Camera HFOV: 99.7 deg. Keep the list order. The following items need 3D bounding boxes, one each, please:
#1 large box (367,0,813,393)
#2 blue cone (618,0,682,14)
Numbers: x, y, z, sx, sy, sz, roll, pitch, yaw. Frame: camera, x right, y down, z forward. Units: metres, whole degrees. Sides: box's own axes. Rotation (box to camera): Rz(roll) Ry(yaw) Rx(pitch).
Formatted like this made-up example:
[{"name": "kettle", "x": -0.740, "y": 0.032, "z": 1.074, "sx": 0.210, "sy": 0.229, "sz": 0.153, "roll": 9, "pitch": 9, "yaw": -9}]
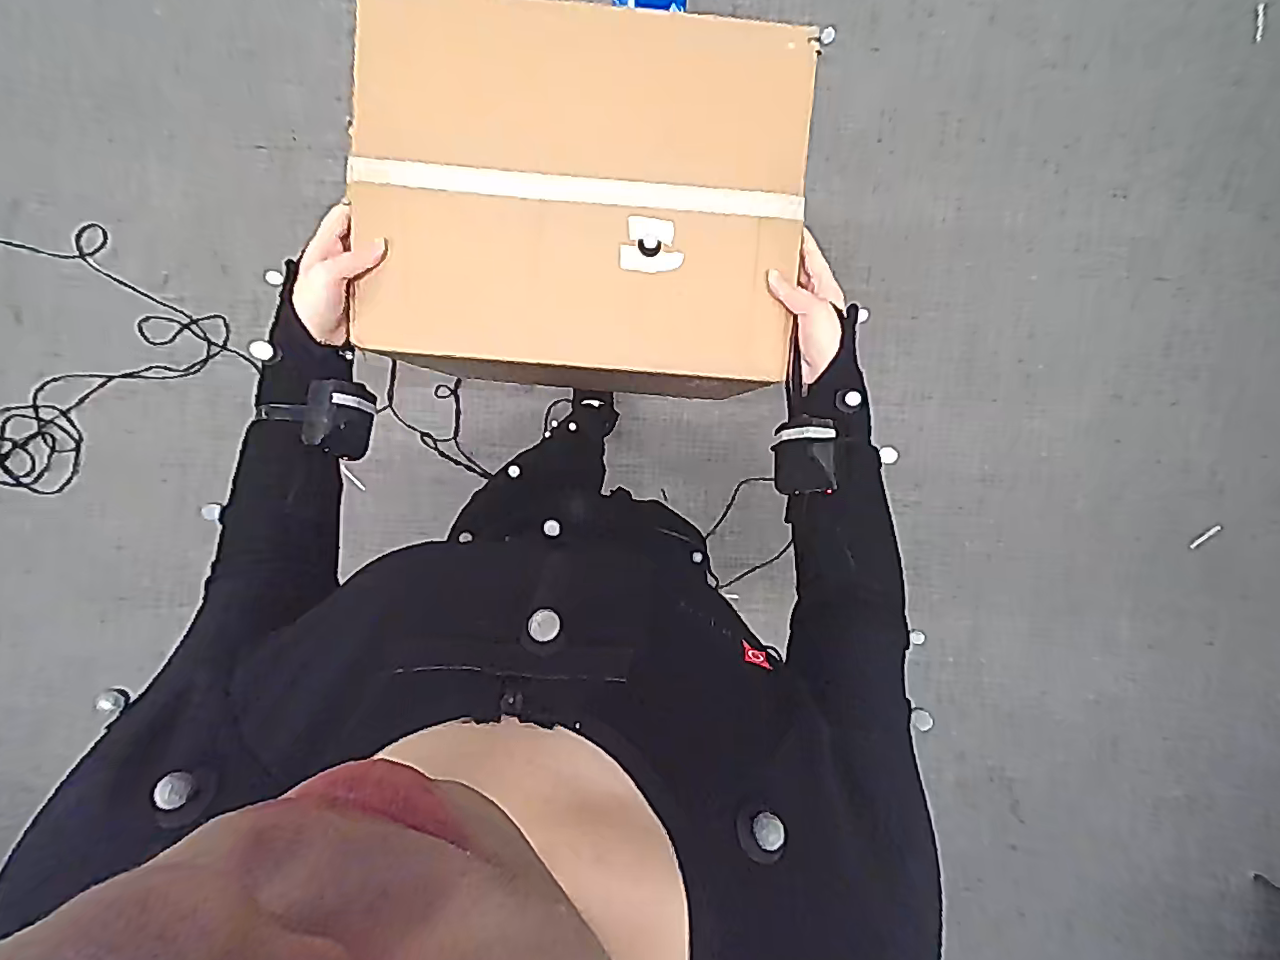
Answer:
[{"name": "large box", "x": -0.056, "y": -0.280, "z": 0.645, "sx": 0.408, "sy": 0.320, "sz": 0.320, "roll": 4, "pitch": 96, "yaw": -3}, {"name": "blue cone", "x": 0.035, "y": -1.365, "z": 1.301, "sx": 0.193, "sy": 0.380, "sz": 0.192, "roll": 11, "pitch": 91, "yaw": -1}]
